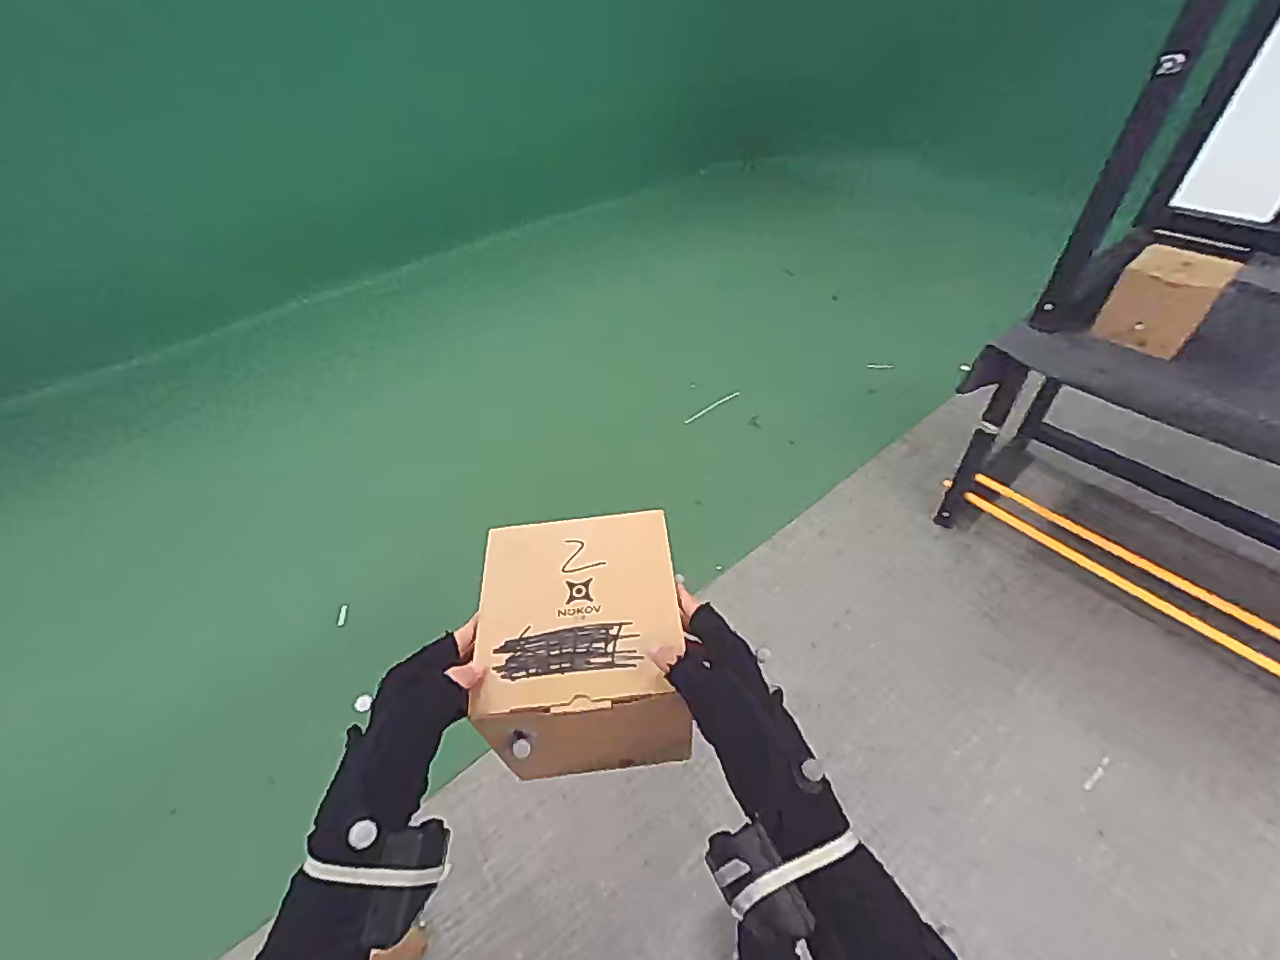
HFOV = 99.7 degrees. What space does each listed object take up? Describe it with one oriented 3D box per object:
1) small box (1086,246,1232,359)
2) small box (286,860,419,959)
[{"bbox_3d":[1.176,-0.405,1.238,0.179,0.176,0.168,-34,51,-26],"label":"small box"},{"bbox_3d":[-0.579,0.933,1.111,0.179,0.176,0.168,-31,50,-22],"label":"small box"}]
